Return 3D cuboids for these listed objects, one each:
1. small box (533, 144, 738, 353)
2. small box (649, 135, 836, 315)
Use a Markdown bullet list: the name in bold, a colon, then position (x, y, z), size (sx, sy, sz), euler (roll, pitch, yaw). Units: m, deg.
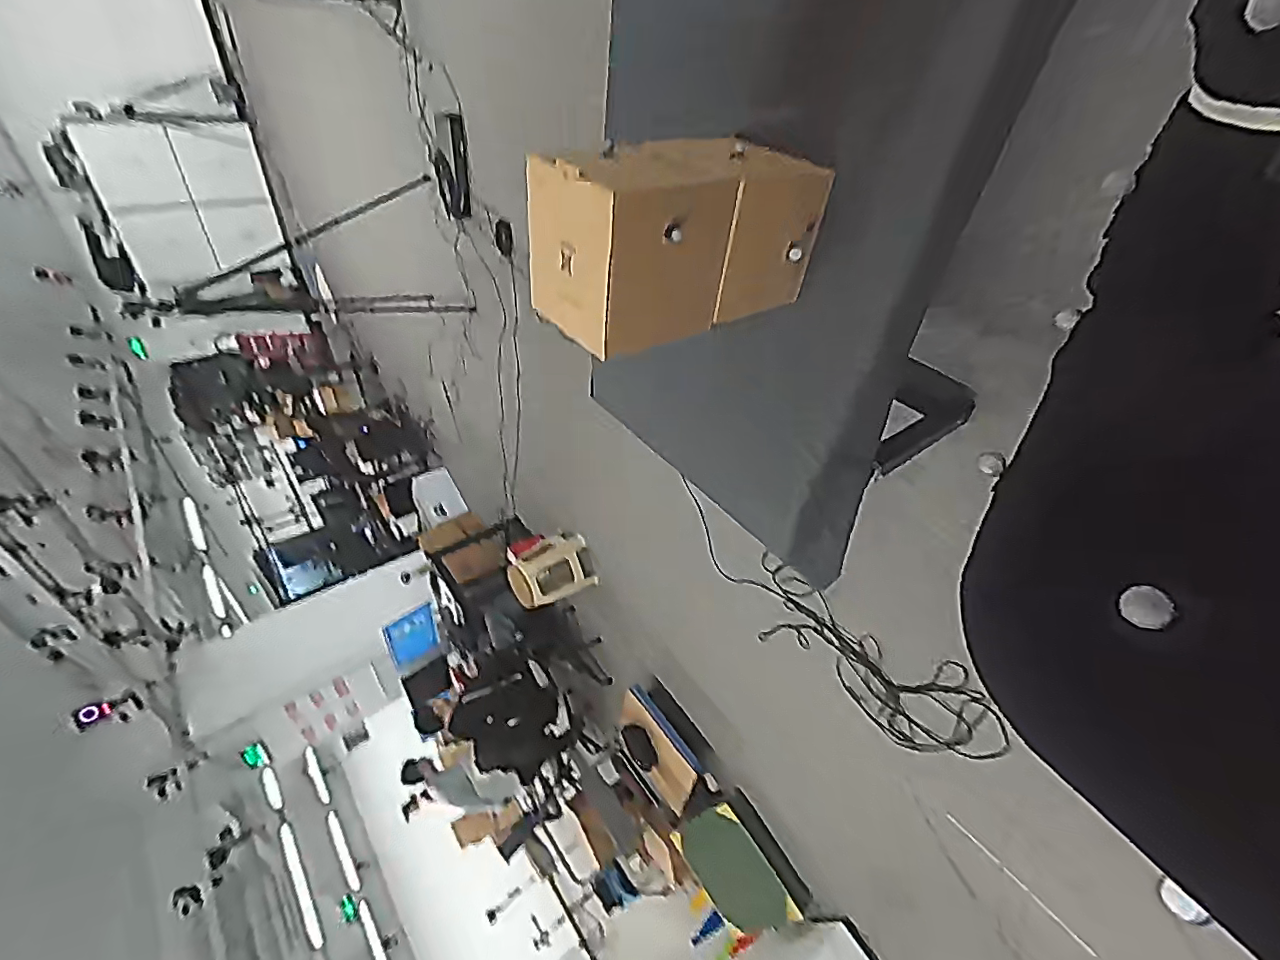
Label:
- **small box**: position (-0.008, -0.279, 0.634), size (0.168, 0.176, 0.179), euler (43, 143, 35)
- **small box**: position (0.119, -0.342, 0.714), size (0.179, 0.176, 0.168), euler (42, 142, 32)
